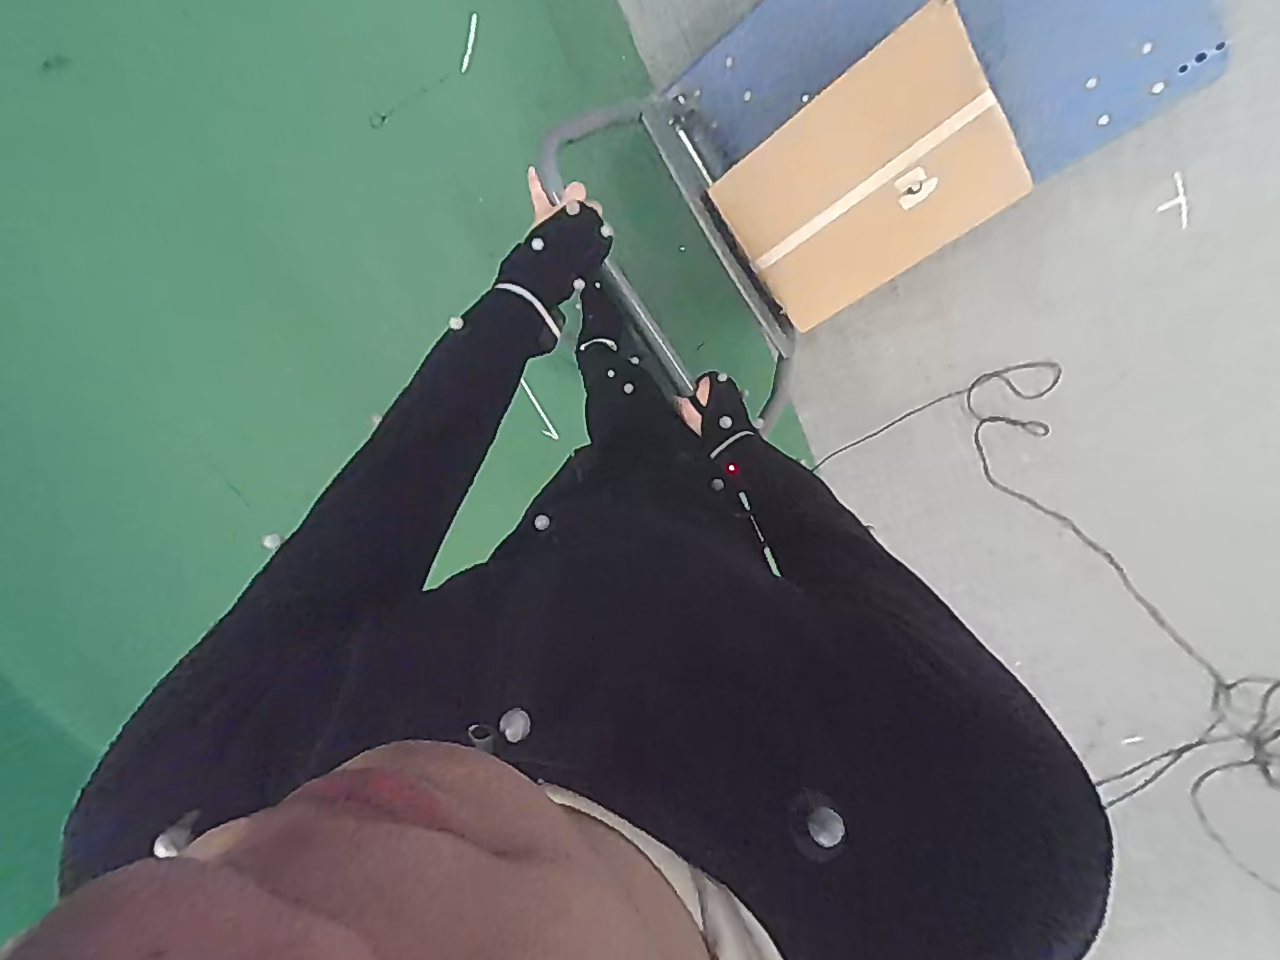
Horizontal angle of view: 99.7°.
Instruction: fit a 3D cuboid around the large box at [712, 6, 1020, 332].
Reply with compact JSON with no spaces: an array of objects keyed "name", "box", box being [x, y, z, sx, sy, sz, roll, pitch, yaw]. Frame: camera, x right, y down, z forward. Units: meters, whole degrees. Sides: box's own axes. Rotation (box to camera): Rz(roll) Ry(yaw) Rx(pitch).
[{"name":"large box","box":[0.400,-0.556,1.032,0.408,0.320,0.320,-28,111,29]}]
